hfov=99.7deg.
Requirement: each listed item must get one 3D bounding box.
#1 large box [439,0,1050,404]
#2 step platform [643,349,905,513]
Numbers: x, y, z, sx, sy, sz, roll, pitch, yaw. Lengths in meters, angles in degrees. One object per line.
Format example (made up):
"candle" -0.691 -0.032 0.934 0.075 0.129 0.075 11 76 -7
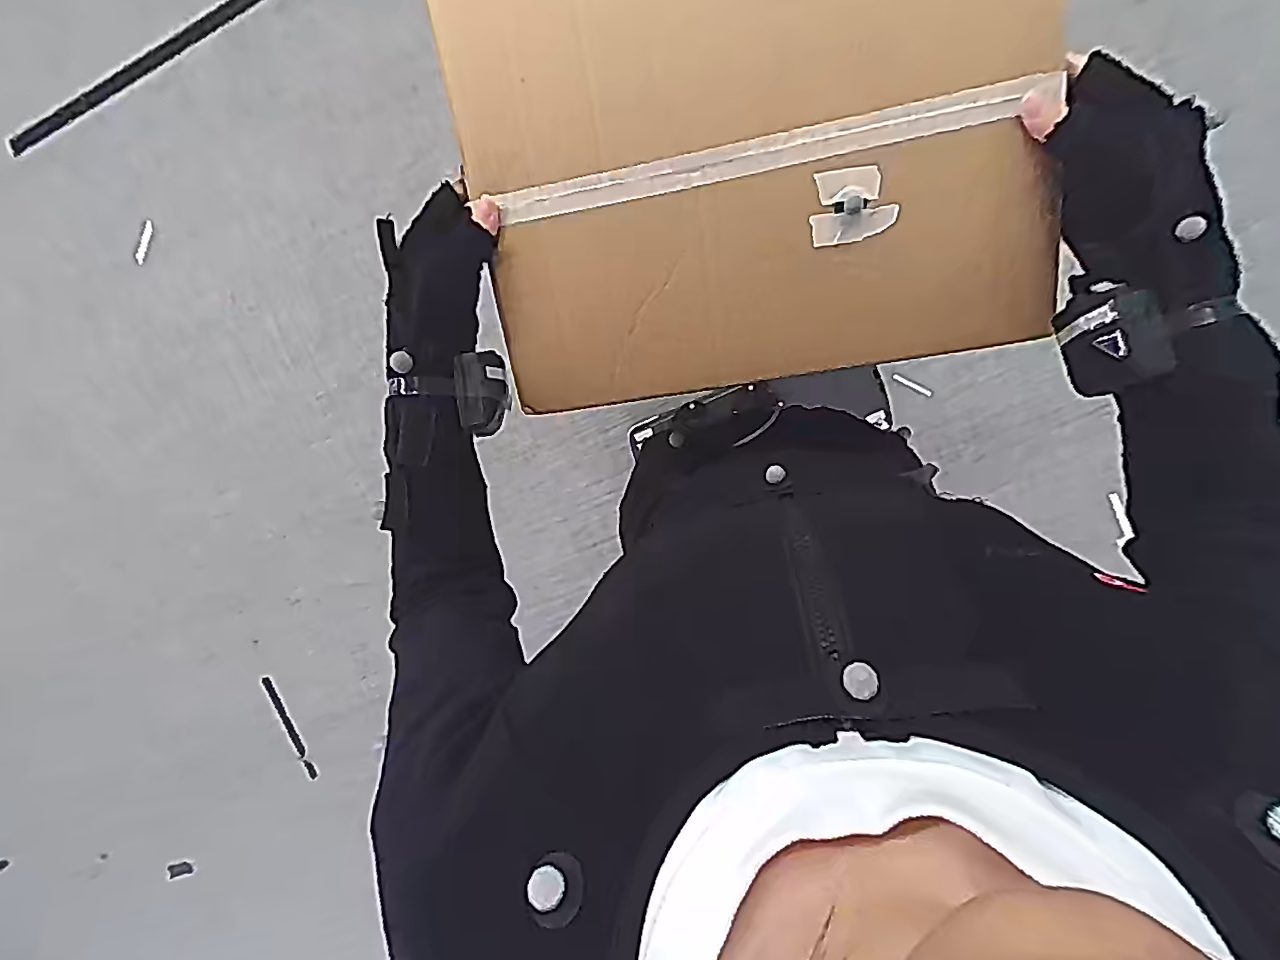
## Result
"large box" 0.089 -0.280 0.532 0.408 0.320 0.320 -8 107 8
"step platform" 0.353 -0.161 1.499 0.684 0.204 0.286 -24 96 7
